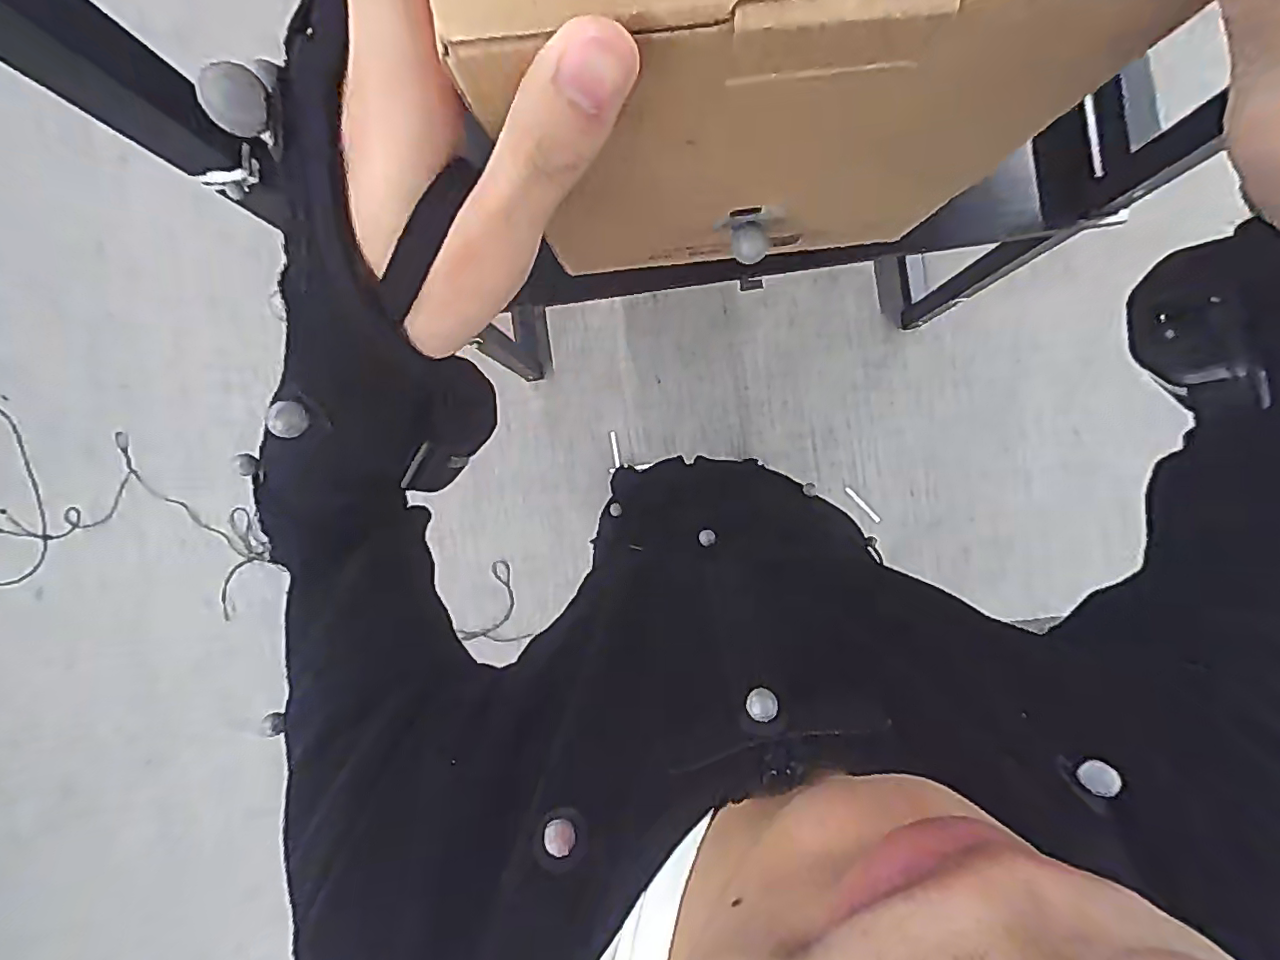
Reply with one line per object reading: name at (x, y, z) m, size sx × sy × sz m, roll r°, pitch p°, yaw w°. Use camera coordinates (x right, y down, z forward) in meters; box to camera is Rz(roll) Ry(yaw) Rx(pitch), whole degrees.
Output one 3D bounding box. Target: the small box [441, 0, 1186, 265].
small box at (0.035, -0.189, 0.175) m, size 0.168 × 0.176 × 0.179 m, roll -5°, pitch 96°, yaw 3°
